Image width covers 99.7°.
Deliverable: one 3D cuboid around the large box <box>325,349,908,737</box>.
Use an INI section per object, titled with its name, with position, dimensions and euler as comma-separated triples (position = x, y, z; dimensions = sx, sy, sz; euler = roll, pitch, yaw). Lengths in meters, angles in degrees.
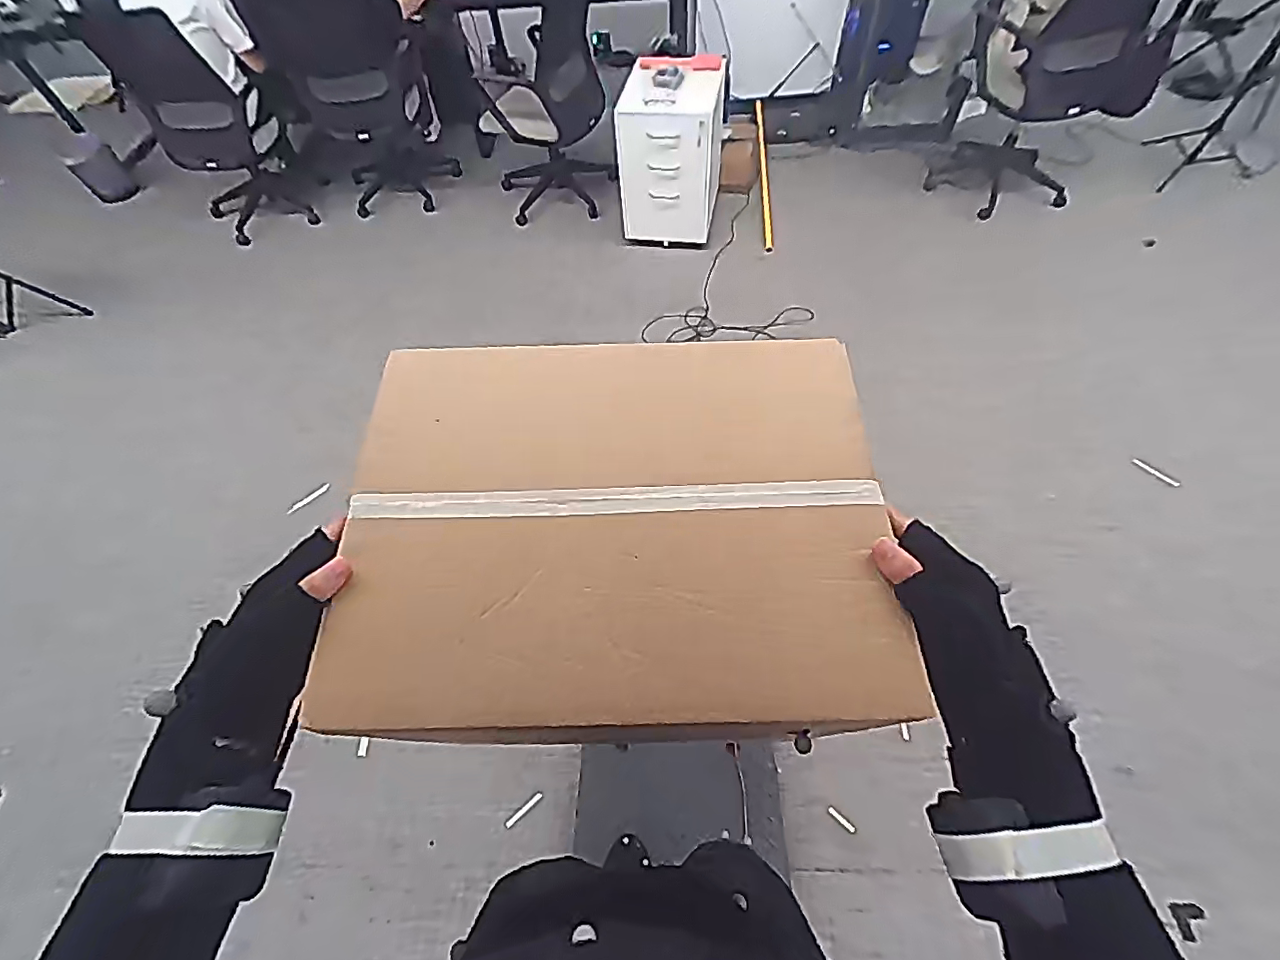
[large box]
position = -0.015, 0.090, 0.562
dimensions = 0.408, 0.320, 0.320
euler = -1, 62, 1
